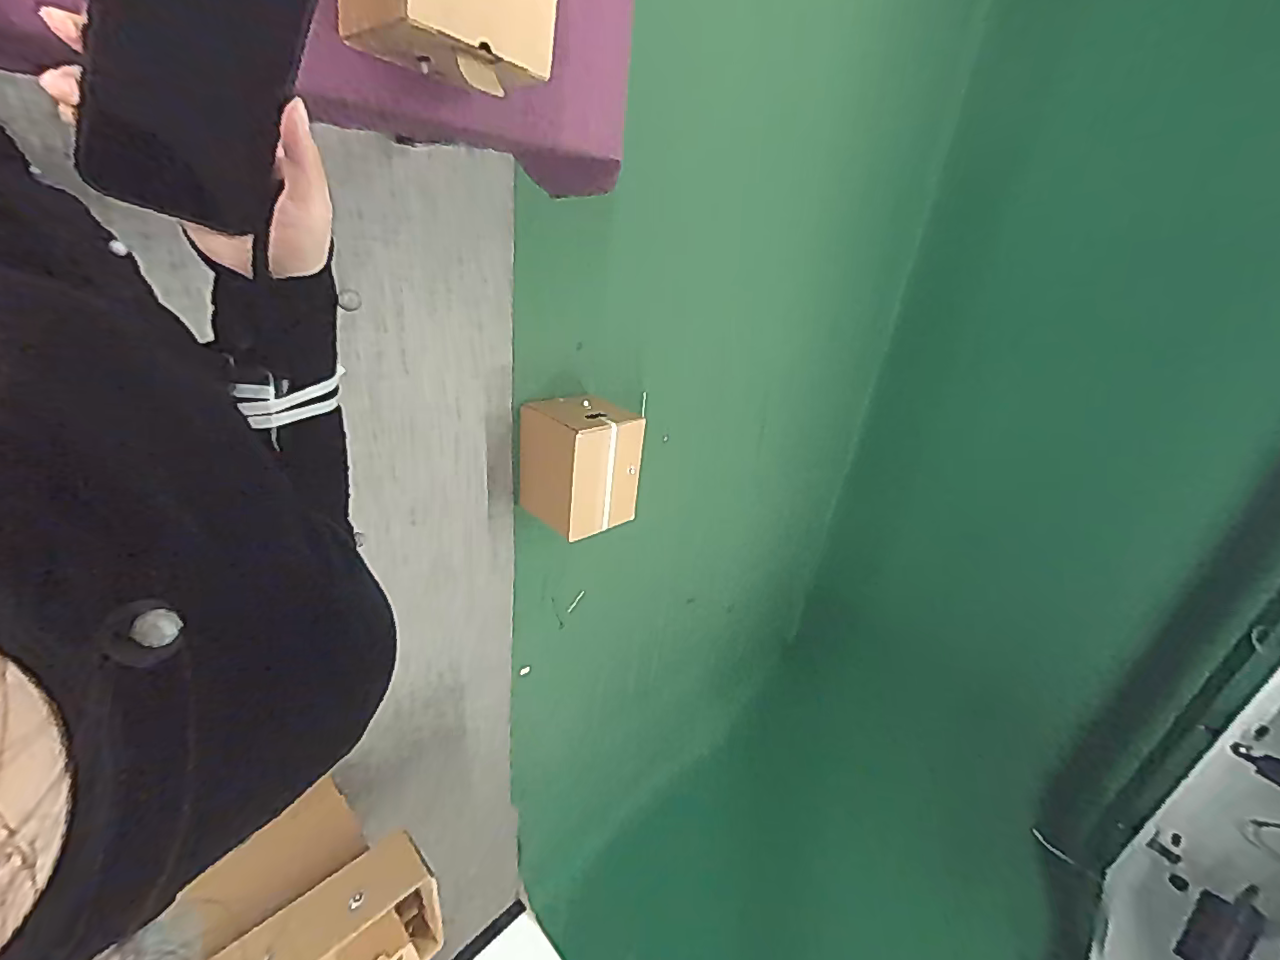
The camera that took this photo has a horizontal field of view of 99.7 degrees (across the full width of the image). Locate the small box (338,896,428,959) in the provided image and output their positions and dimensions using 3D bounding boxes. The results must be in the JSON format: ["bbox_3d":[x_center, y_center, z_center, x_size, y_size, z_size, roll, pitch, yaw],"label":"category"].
[{"bbox_3d":[-0.732,1.347,1.543,0.168,0.176,0.179,-27,132,-36],"label":"small box"}]

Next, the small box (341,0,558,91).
[{"bbox_3d":[-0.201,-0.541,0.569,0.168,0.176,0.179,-13,122,-44],"label":"small box"}]
